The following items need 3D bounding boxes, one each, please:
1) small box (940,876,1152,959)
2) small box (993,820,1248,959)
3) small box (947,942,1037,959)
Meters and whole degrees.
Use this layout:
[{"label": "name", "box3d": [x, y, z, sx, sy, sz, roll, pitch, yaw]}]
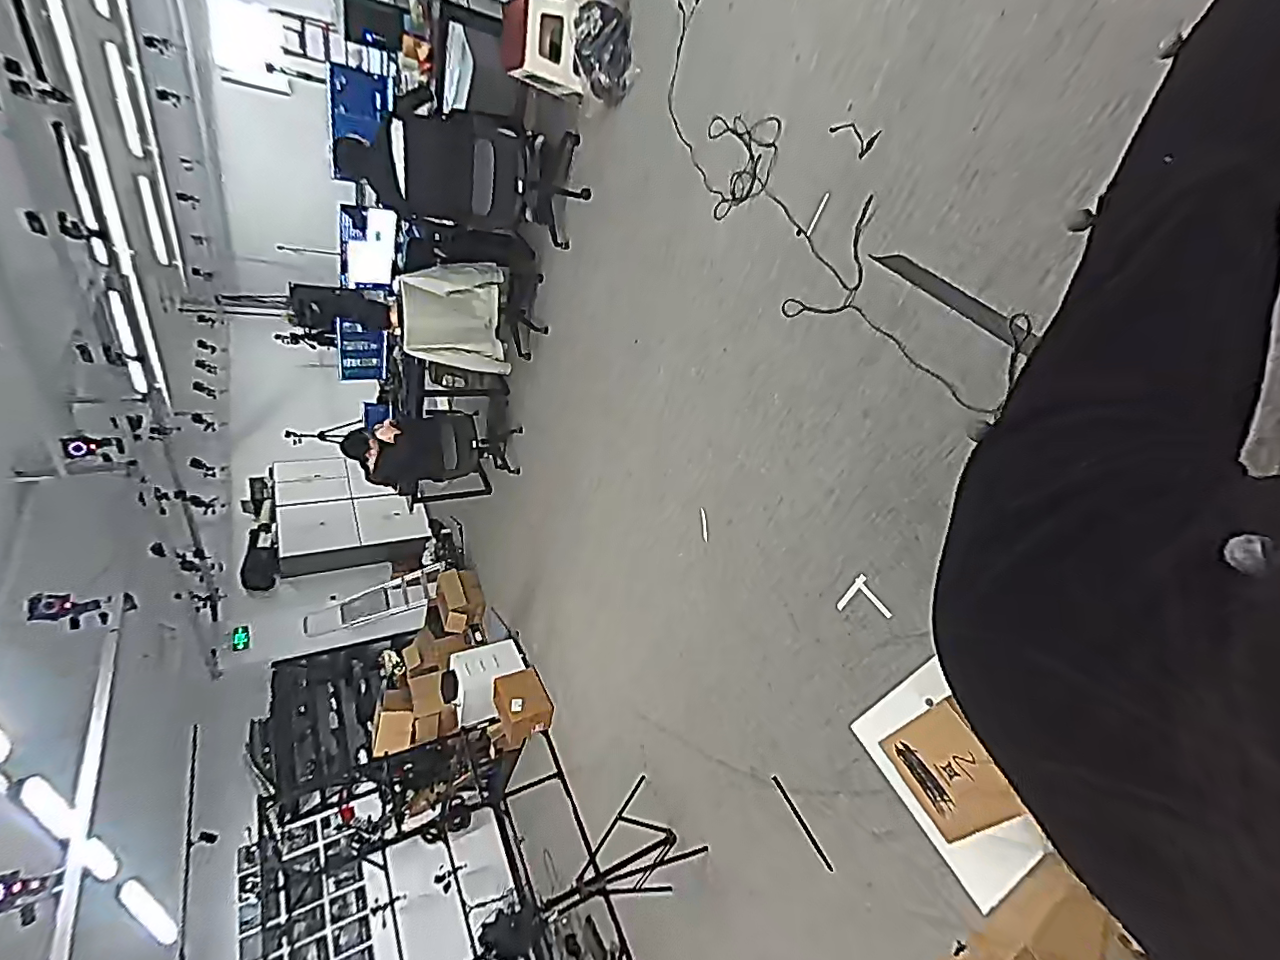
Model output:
[{"label": "small box", "box3d": [0.506, 0.618, 0.646, 0.168, 0.176, 0.179, 56, 140, 36]}, {"label": "small box", "box3d": [0.643, 0.602, 0.731, 0.168, 0.176, 0.179, 57, 141, 35]}, {"label": "small box", "box3d": [0.367, 0.635, 0.564, 0.168, 0.176, 0.179, 55, 139, 36]}]
